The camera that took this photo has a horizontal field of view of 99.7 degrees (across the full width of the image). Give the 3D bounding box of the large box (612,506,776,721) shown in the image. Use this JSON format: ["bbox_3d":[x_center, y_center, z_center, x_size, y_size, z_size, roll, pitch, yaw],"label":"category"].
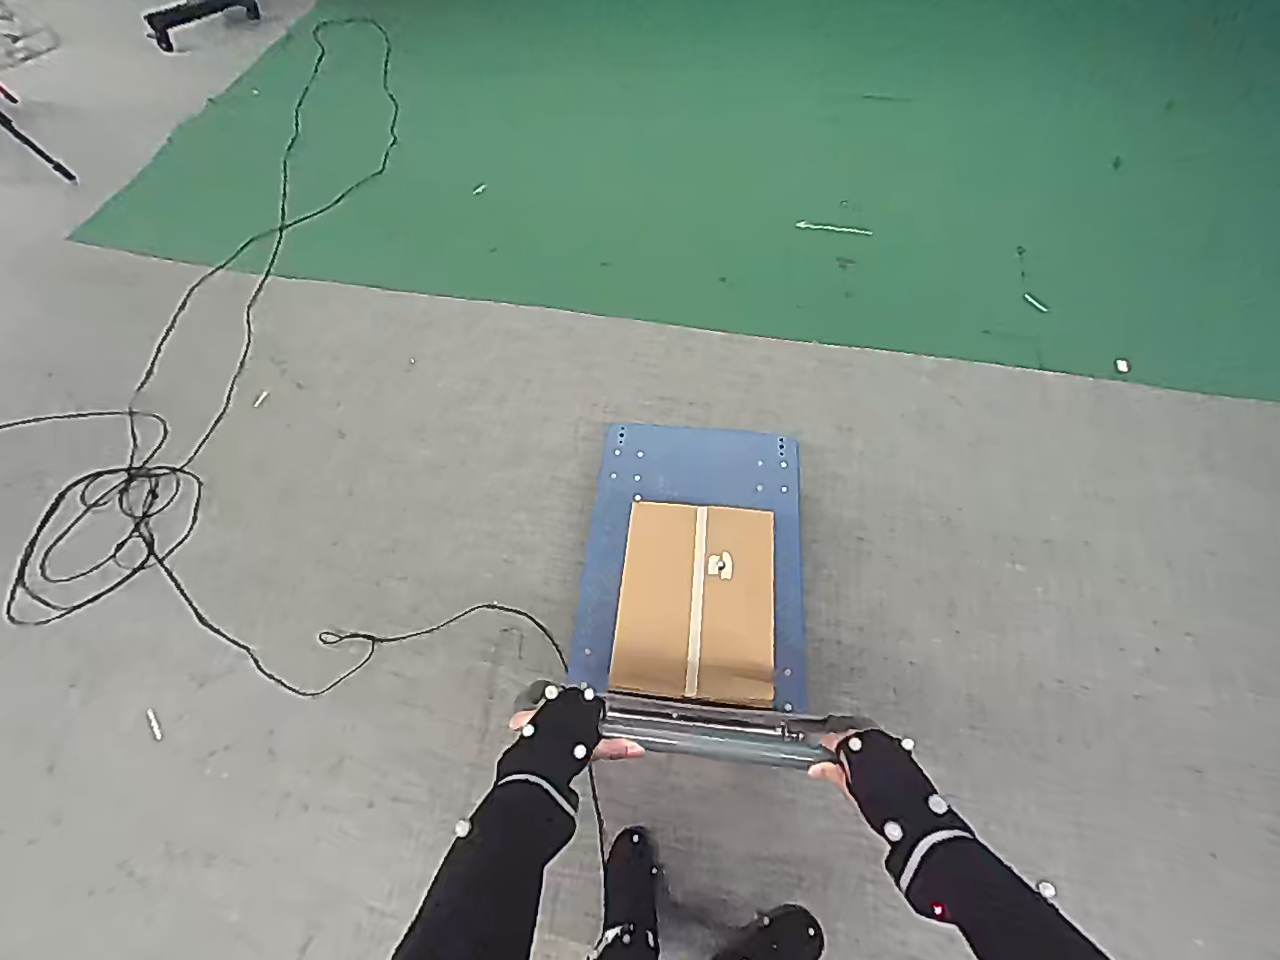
[{"bbox_3d":[0.123,0.311,1.233,0.320,0.320,0.408,4,62,5],"label":"large box"}]
